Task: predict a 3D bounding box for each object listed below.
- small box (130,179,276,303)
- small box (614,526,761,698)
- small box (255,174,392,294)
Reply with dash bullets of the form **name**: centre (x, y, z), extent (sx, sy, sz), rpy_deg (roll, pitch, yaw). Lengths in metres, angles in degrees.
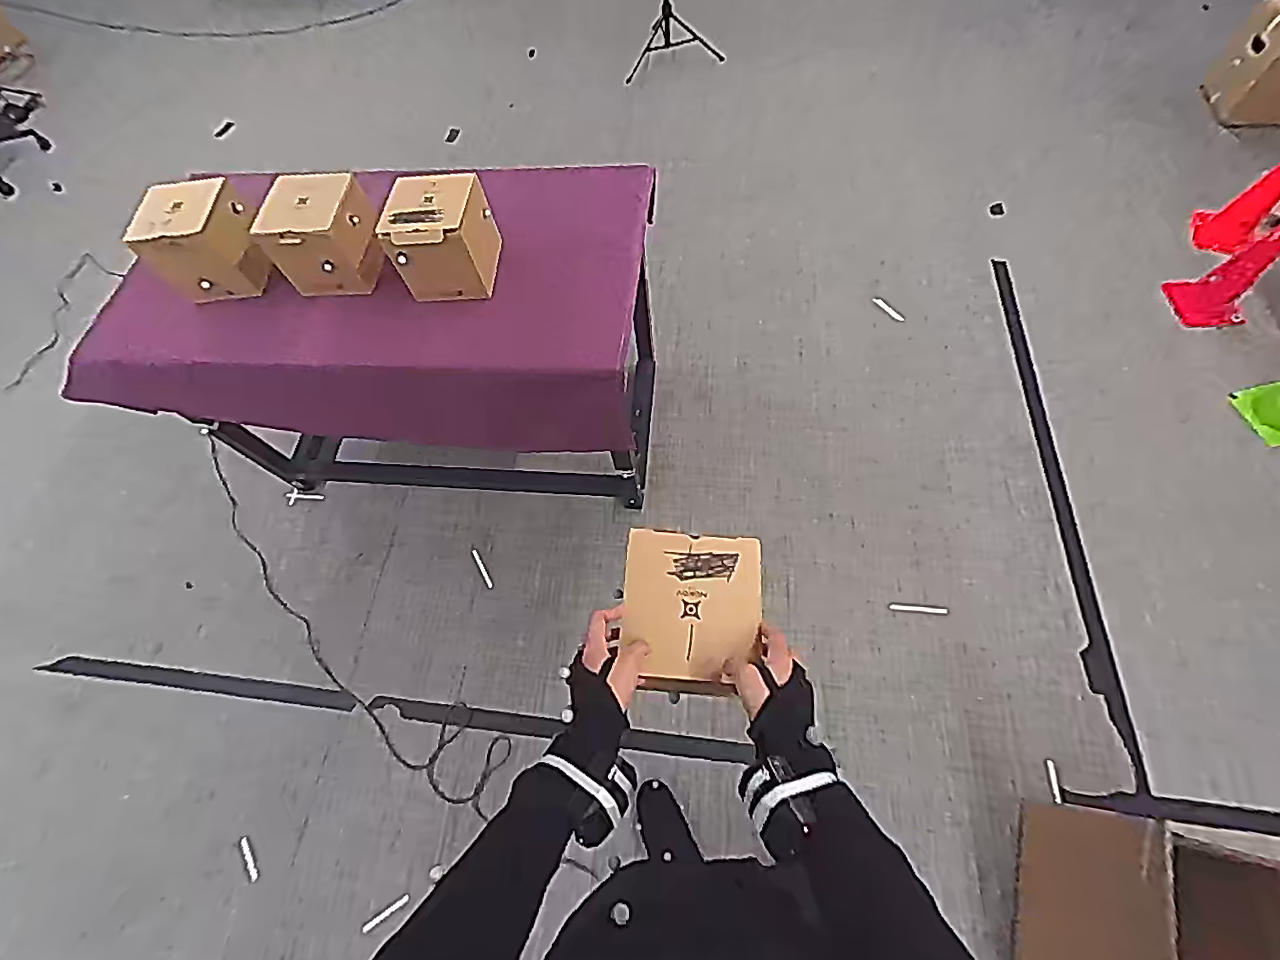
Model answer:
- **small box**: centre (-0.926, -0.513, 1.172), extent (0.168, 0.176, 0.179), rpy_deg (-6, 64, 3)
- **small box**: centre (0.055, 0.176, 0.698), extent (0.168, 0.176, 0.179), rpy_deg (5, 64, 1)
- **small box**: centre (-0.657, -0.514, 1.149), extent (0.168, 0.176, 0.179), rpy_deg (1, 64, 5)
